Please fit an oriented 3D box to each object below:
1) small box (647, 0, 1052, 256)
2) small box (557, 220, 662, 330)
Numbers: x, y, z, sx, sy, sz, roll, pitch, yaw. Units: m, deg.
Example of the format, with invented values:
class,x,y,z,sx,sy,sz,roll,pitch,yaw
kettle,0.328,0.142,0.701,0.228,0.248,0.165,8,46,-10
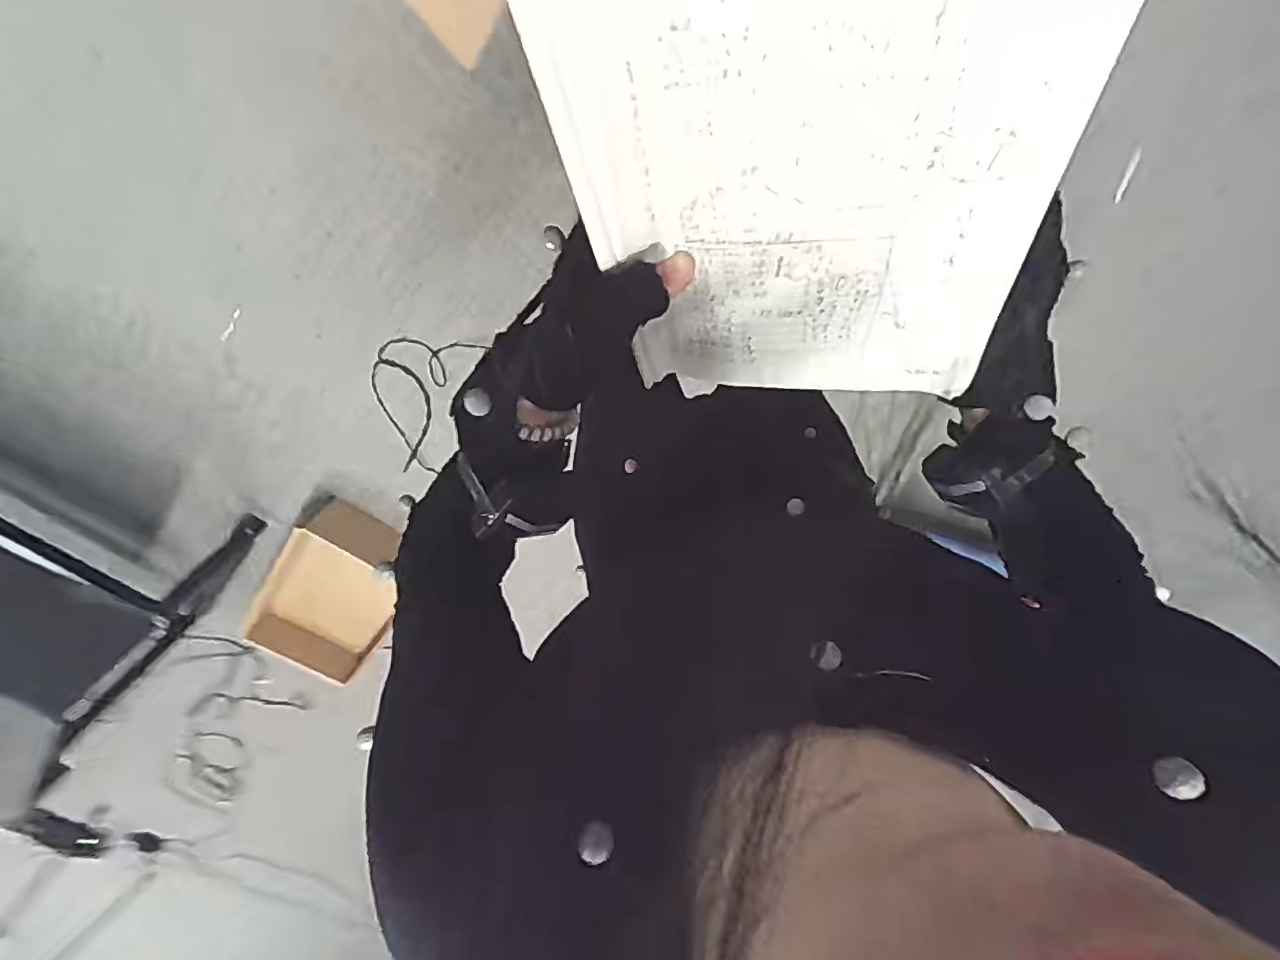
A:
class,x,y,z,sx,sy,sz,roll,pitch,yaw
small box,0.102,-0.241,0.316,0.179,0.176,0.168,5,129,9
small box,-0.073,-0.465,1.221,0.179,0.176,0.168,26,127,4
